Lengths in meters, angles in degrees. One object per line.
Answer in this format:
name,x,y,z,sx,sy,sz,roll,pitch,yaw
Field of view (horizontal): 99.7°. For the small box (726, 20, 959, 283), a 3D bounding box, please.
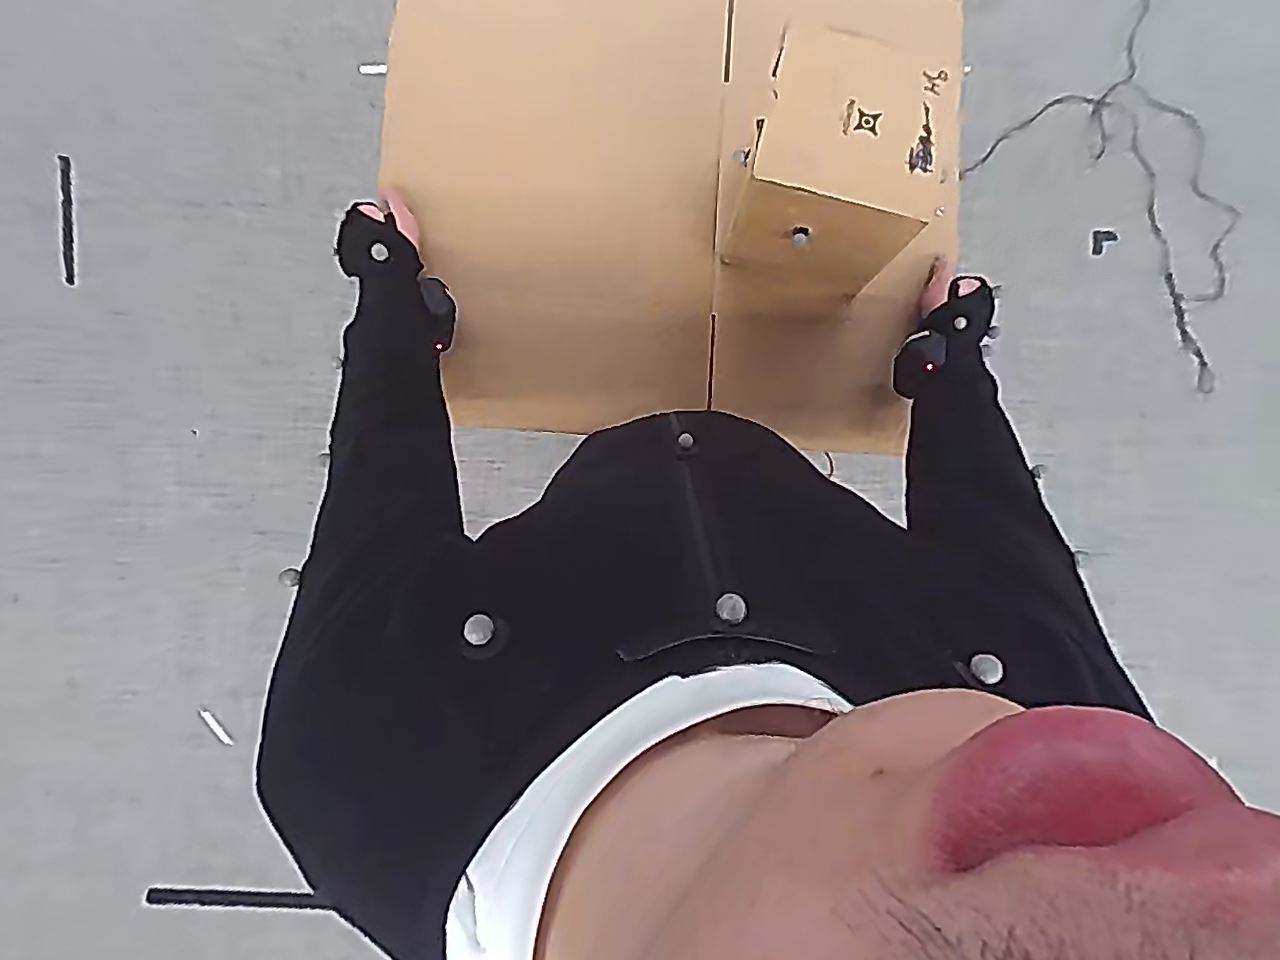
small box,0.203,-0.339,0.593,0.179,0.176,0.168,14,87,1
